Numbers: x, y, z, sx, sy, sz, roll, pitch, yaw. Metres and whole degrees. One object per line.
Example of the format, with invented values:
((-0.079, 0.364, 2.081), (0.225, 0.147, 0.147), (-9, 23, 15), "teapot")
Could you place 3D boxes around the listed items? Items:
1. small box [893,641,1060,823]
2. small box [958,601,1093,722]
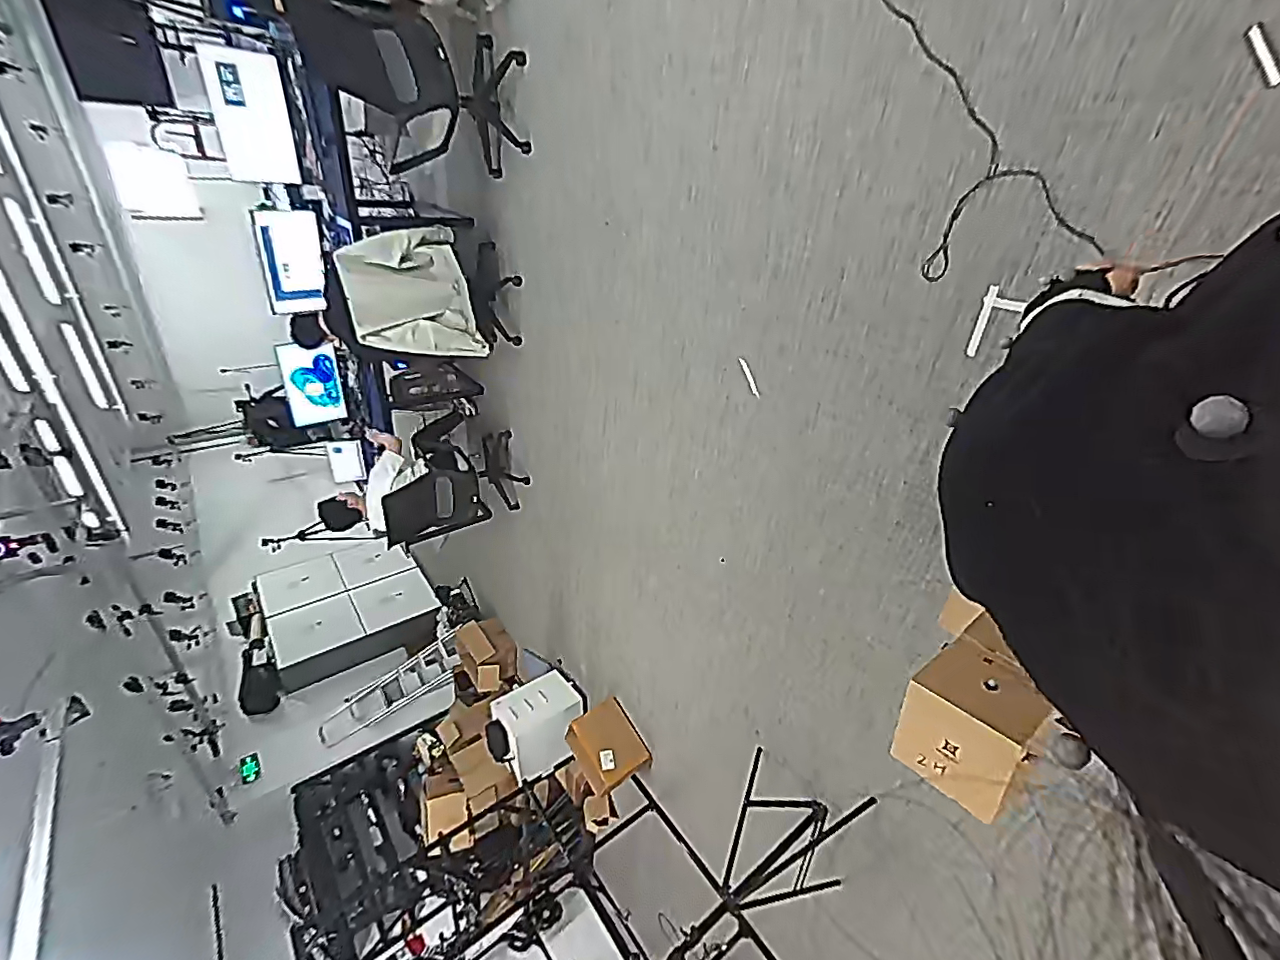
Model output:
((0.553, 0.400, 0.891), (0.168, 0.176, 0.179), (29, 127, 47), "small box")
((0.680, 0.352, 0.984), (0.168, 0.176, 0.179), (33, 131, 44), "small box")
